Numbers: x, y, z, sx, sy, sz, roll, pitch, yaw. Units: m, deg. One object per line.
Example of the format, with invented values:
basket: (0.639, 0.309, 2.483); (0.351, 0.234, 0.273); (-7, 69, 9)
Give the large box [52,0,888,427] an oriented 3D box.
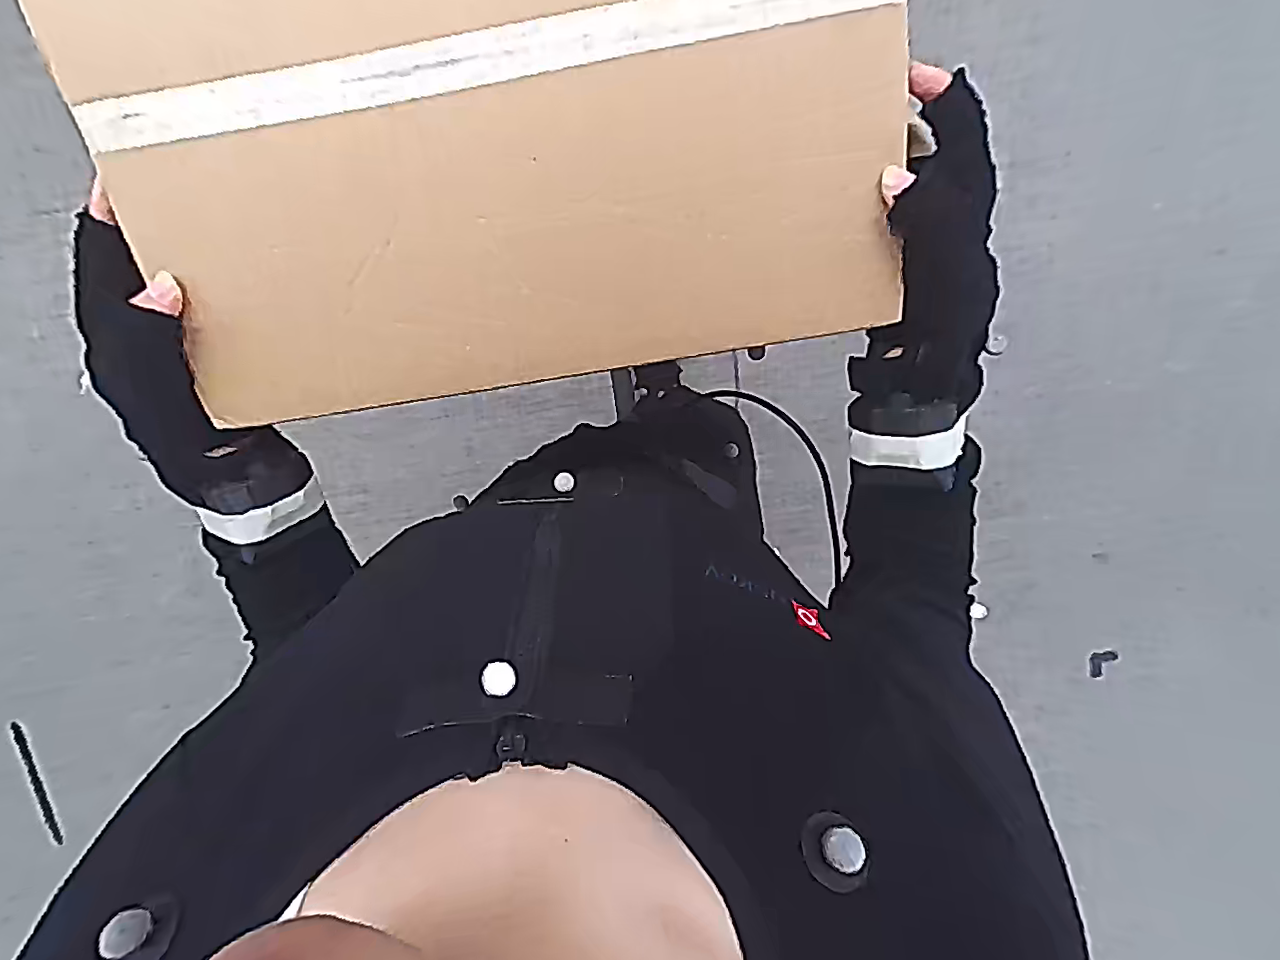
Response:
large box: (-0.076, -0.258, 0.411); (0.408, 0.320, 0.320); (-9, 109, 3)
